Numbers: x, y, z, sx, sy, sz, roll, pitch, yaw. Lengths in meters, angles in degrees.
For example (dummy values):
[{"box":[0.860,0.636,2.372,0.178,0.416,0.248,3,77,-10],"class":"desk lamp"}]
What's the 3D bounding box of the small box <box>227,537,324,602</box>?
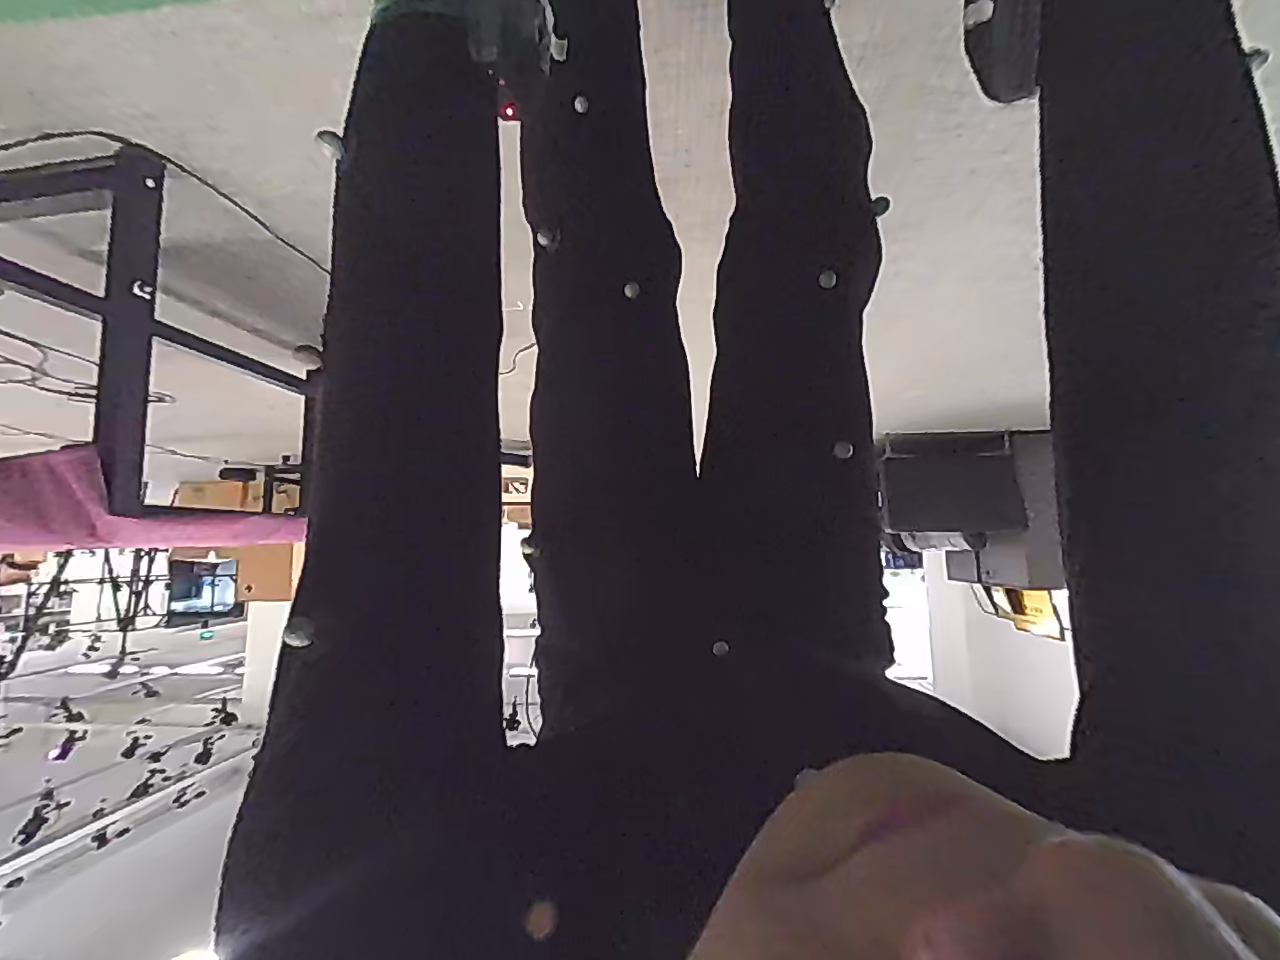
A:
[{"box":[-1.042,0.251,1.551,0.179,0.176,0.168,-2,174,7],"class":"small box"}]
